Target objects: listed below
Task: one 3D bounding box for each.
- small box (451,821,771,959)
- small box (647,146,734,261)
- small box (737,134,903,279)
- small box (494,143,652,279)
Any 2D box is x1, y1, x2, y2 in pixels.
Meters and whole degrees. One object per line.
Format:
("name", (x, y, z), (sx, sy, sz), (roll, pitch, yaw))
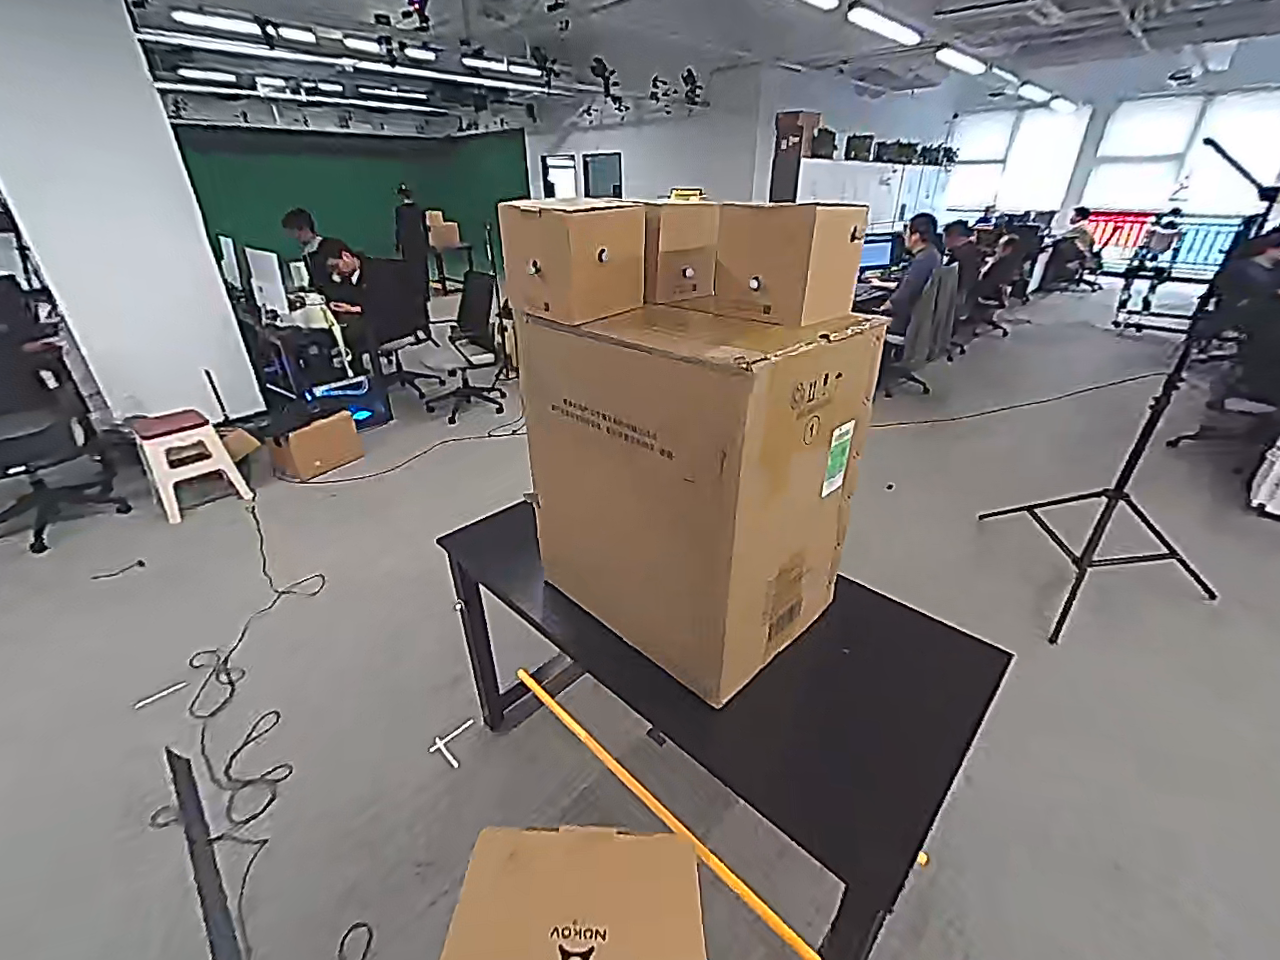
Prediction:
("small box", (-0.019, 0.323, 0.287), (0.168, 0.176, 0.179), (3, 20, -2))
("small box", (0.043, -0.490, 0.965), (0.168, 0.176, 0.179), (-25, 39, -39))
("small box", (0.256, -0.398, 0.796), (0.168, 0.176, 0.179), (23, 34, 38))
("small box", (-0.095, -0.417, 0.831), (0.168, 0.176, 0.179), (25, 40, 32))
